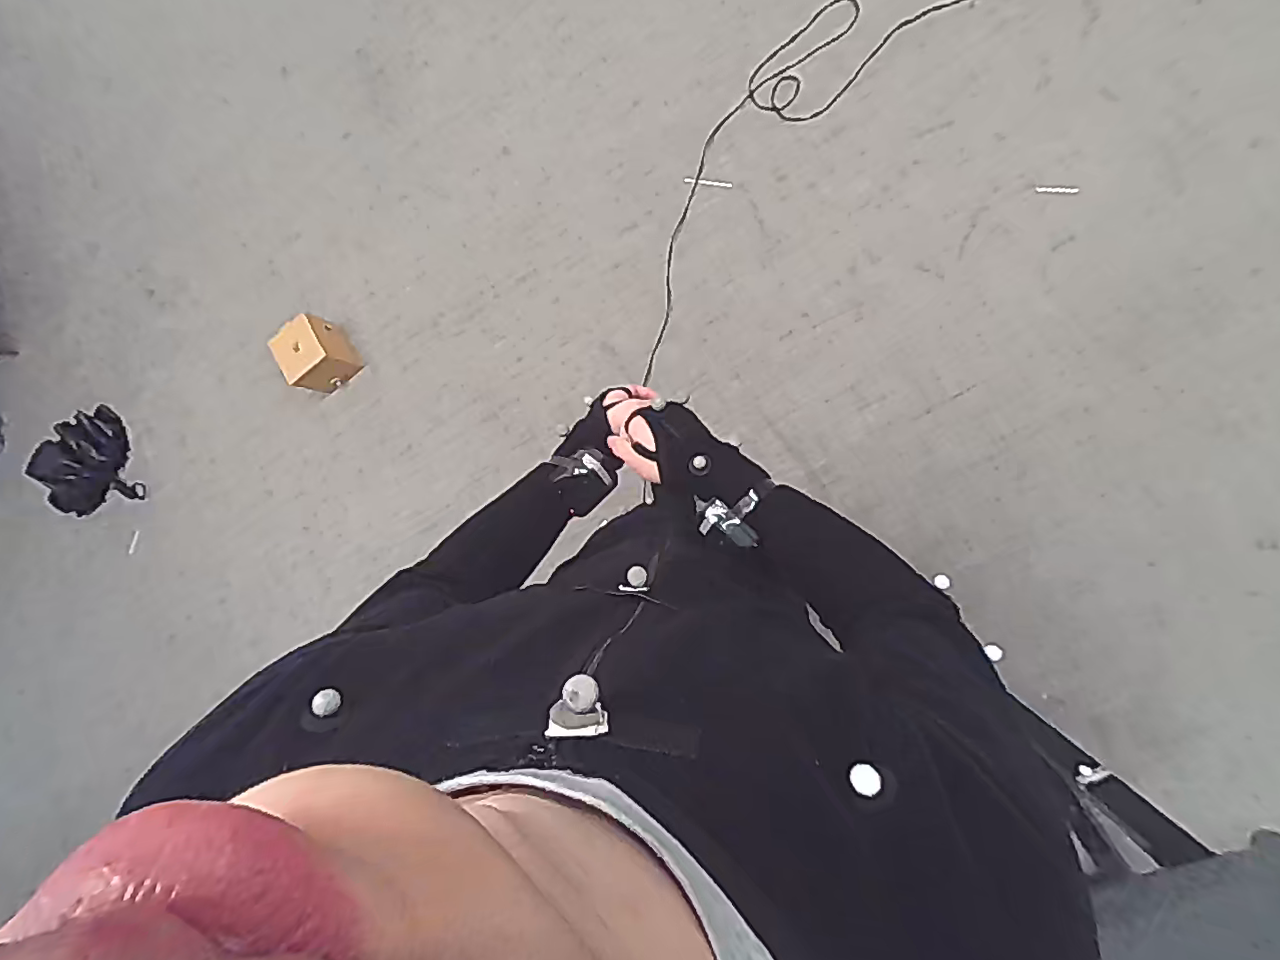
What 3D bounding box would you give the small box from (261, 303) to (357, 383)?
[{"bbox_3d":[-1.073,-0.439,1.764,0.168,0.176,0.179,-34,83,11],"label":"small box"}]
